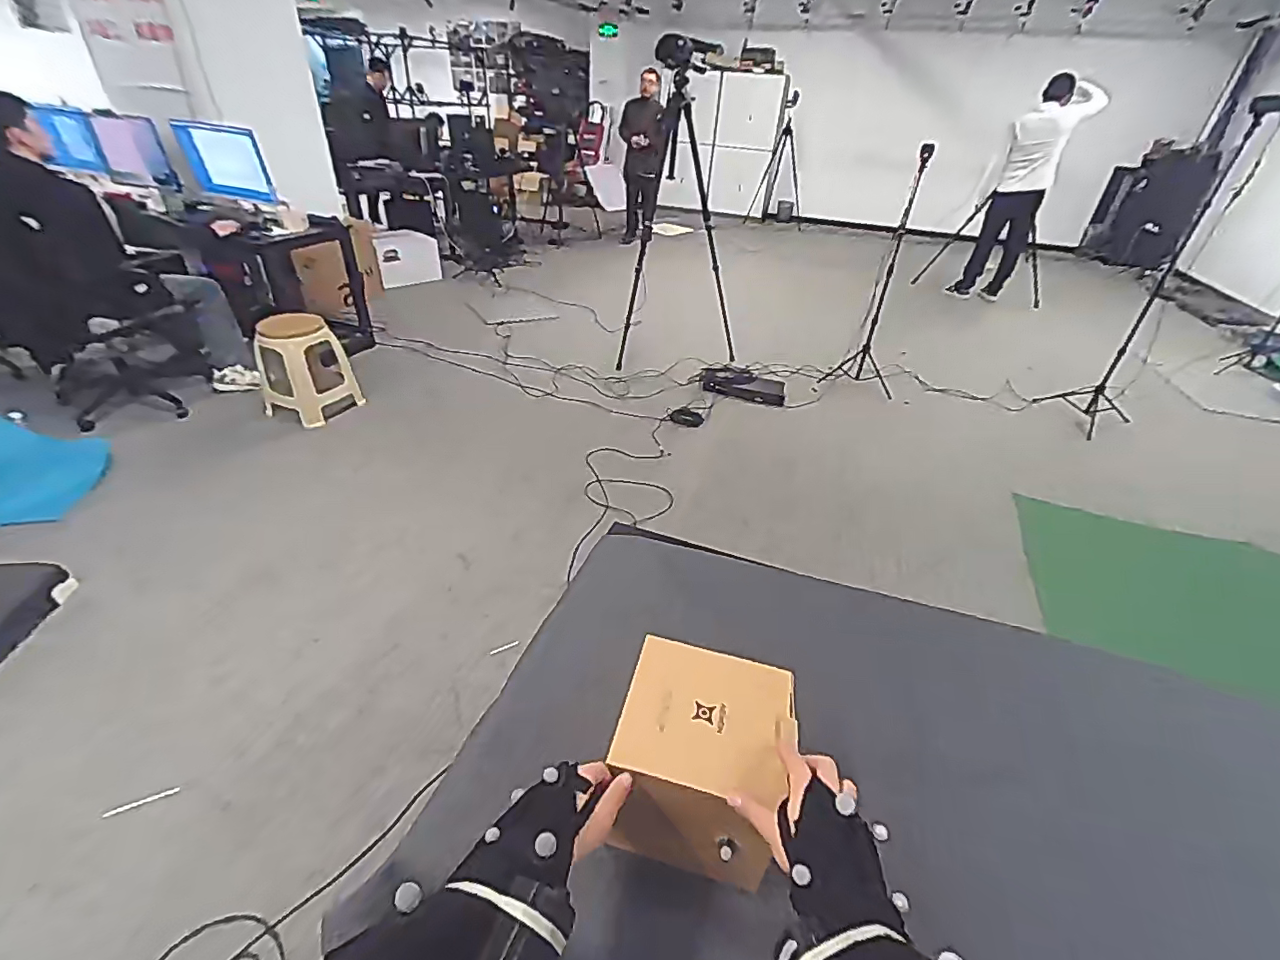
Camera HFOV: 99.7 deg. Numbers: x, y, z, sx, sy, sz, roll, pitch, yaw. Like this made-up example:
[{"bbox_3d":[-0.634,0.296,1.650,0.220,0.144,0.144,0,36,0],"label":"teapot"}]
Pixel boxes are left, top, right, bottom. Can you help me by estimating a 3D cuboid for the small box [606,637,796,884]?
[{"bbox_3d":[0.068,0.312,0.606,0.179,0.176,0.168,10,33,10],"label":"small box"}]
